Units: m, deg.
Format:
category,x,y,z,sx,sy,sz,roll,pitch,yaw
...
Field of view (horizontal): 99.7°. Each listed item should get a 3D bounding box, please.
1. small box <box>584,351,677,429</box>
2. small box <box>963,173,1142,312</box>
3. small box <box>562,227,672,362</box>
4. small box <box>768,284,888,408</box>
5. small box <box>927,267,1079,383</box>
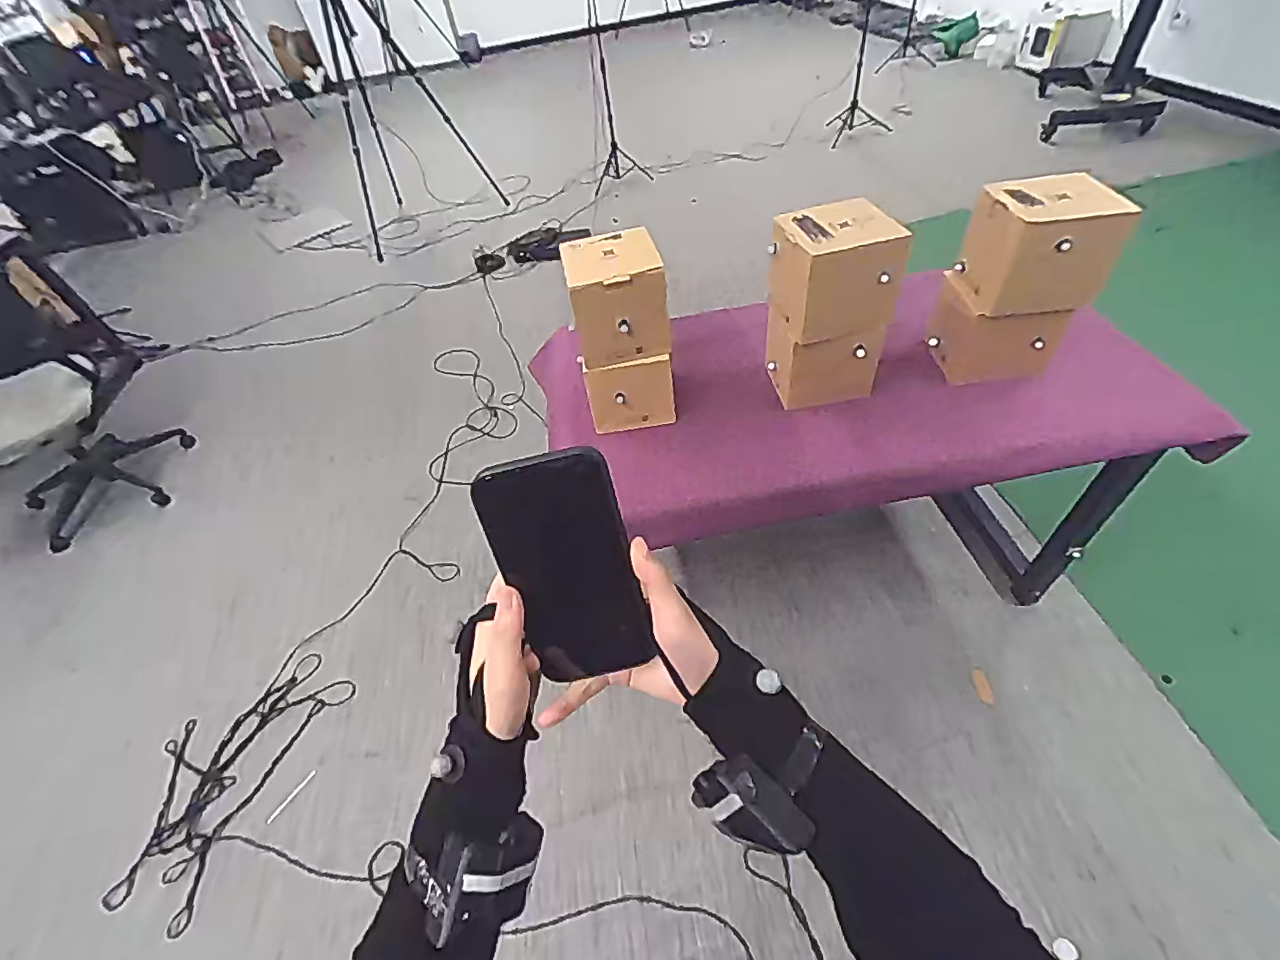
category,x,y,z,sx,sy,sz,roll,pitch,yaw
small box,-0.019,-0.220,1.119,0.168,0.176,0.179,-9,48,2
small box,0.695,-0.410,0.945,0.179,0.176,0.168,-5,48,5
small box,-0.041,-0.335,1.003,0.168,0.176,0.179,-12,48,-2
small box,0.368,-0.268,1.094,0.179,0.176,0.168,-9,47,1
small box,0.706,-0.312,1.077,0.179,0.176,0.168,-5,48,6
